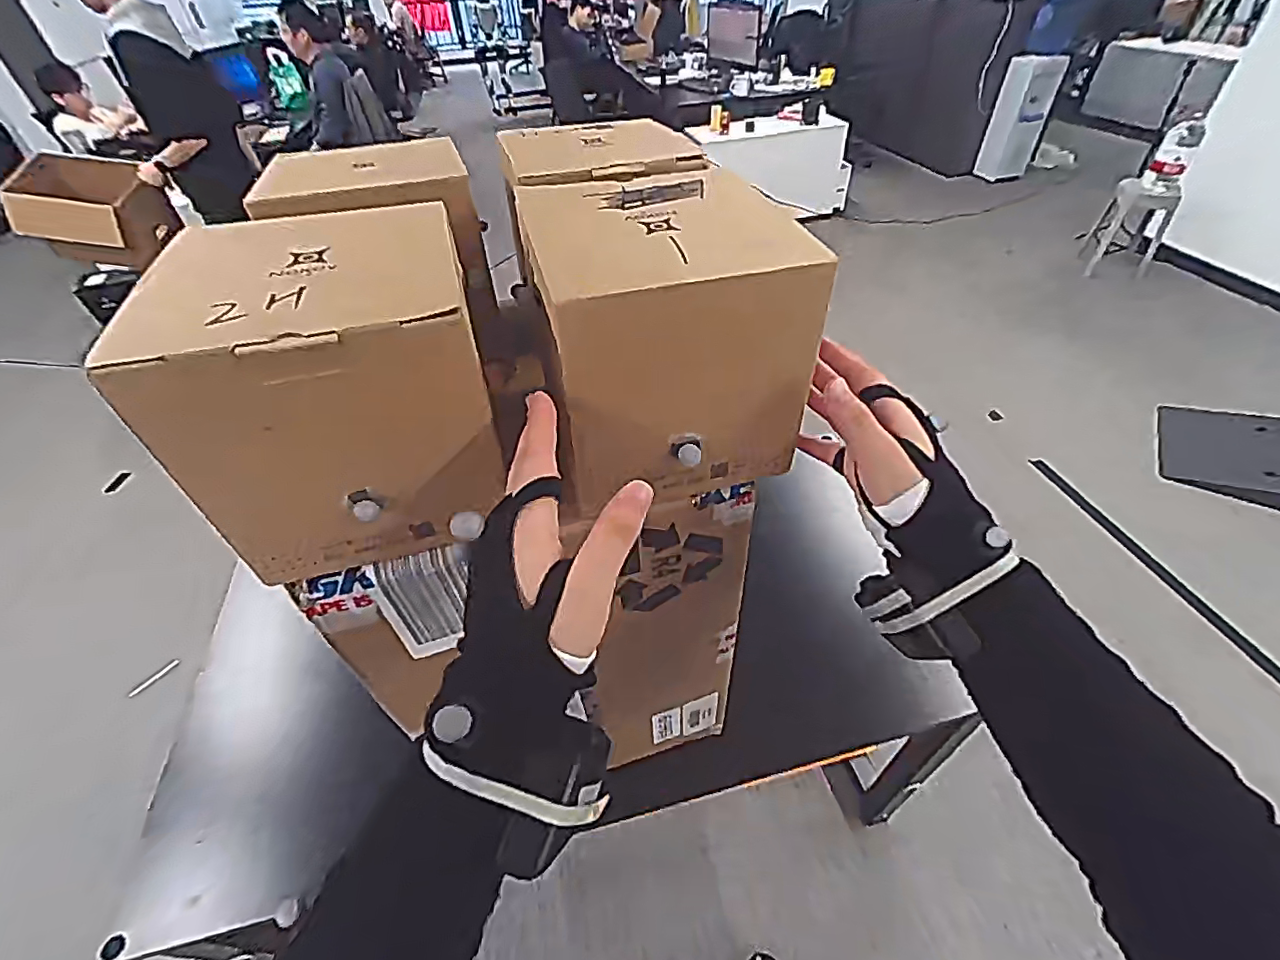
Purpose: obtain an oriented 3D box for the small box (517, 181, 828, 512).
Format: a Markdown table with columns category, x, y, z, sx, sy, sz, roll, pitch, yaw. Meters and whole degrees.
| category | x | y | z | sx | sy | sz | roll | pitch | yaw |
| --- | --- | --- | --- | --- | --- | --- | --- | --- | --- |
| small box | 0.009 | -0.103 | 0.408 | 0.168 | 0.176 | 0.179 | -12 | 46 | -10 |
